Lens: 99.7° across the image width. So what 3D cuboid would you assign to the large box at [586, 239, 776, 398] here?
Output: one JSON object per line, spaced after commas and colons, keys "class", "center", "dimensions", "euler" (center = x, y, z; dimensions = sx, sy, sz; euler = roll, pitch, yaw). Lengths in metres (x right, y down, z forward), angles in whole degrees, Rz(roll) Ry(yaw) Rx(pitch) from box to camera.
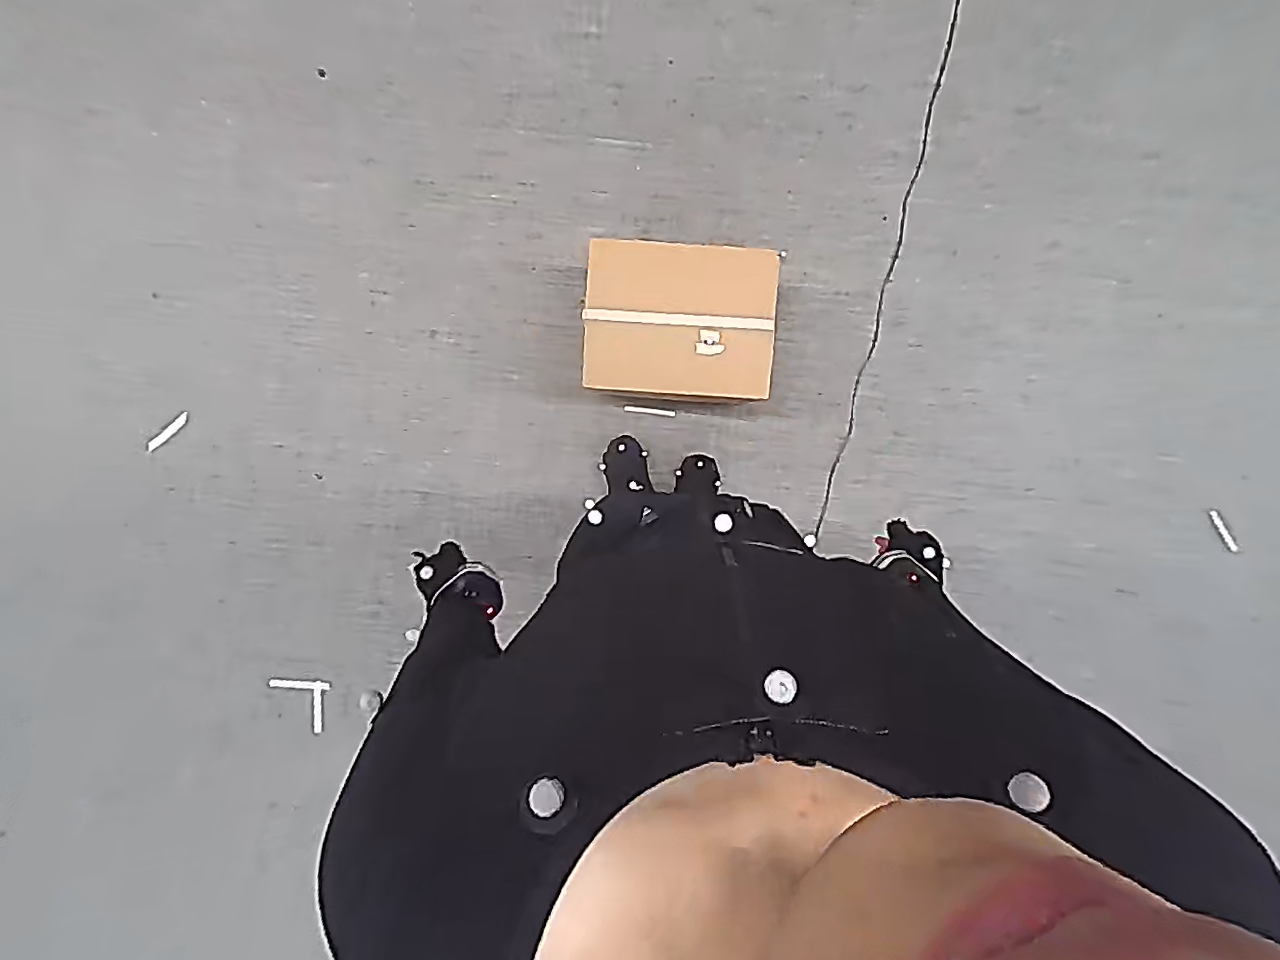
{"class": "large box", "center": [0.082, -0.366, 1.310], "dimensions": [0.408, 0.320, 0.320], "euler": [3, 97, -1]}
